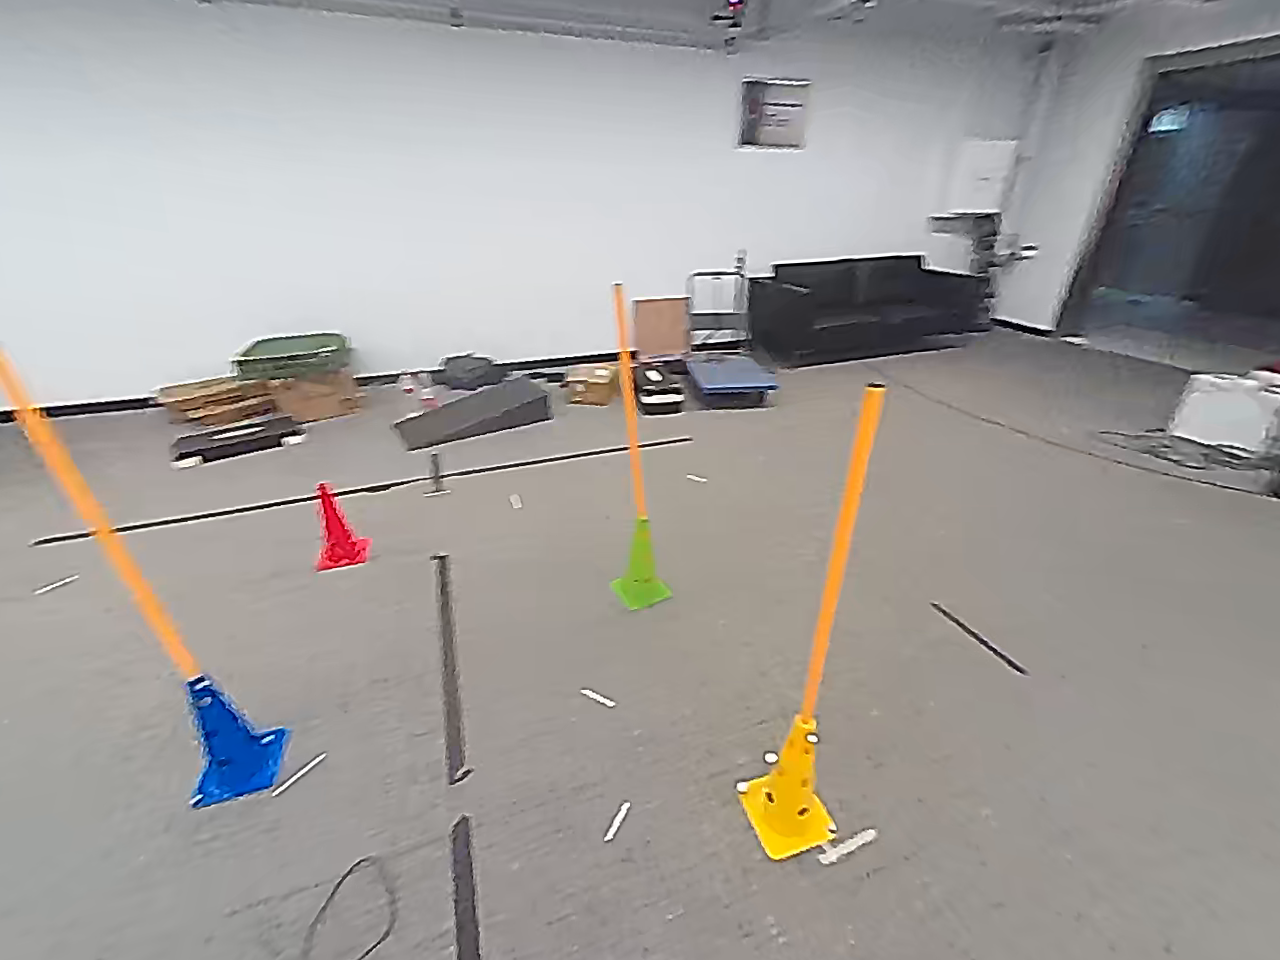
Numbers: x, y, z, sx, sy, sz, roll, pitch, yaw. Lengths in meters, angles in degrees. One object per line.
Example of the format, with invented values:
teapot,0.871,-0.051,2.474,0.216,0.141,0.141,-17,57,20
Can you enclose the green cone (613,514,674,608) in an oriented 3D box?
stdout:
green cone,0.015,0.291,2.134,0.200,0.368,0.202,-16,34,-27

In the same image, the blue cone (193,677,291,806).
blue cone,-1.107,0.668,1.455,0.193,0.380,0.192,-9,30,-15
